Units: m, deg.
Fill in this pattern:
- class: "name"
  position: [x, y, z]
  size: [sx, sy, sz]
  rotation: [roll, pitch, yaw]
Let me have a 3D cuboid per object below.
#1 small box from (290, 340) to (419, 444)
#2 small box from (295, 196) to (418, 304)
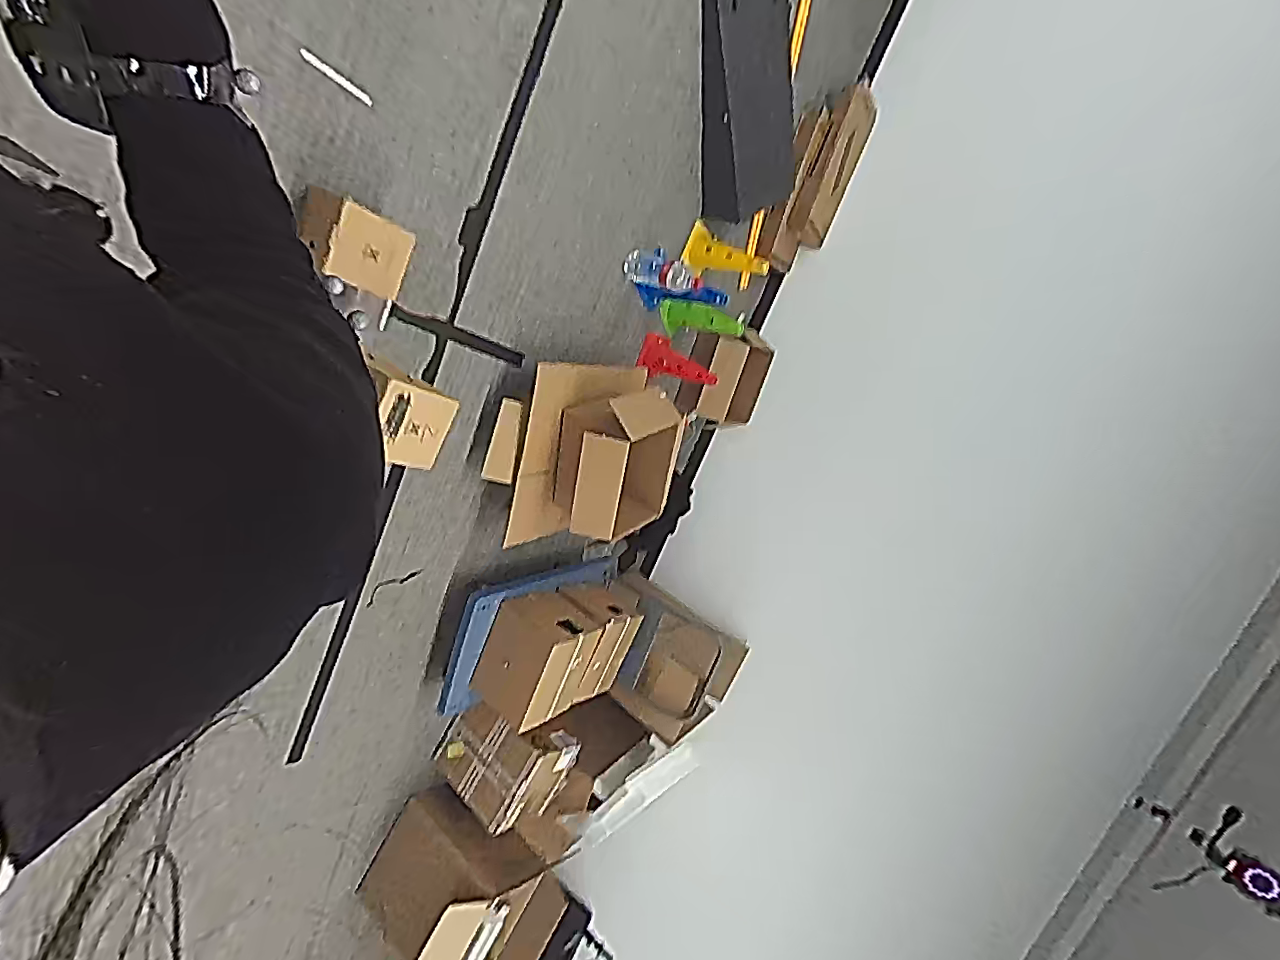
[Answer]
- class: "small box"
  position: [-0.652, -0.201, 1.229]
  size: [0.179, 0.176, 0.168]
  rotation: [15, 102, -61]
- class: "small box"
  position: [-0.663, -0.537, 1.260]
  size: [0.179, 0.176, 0.168]
  rotation: [6, 111, -60]
